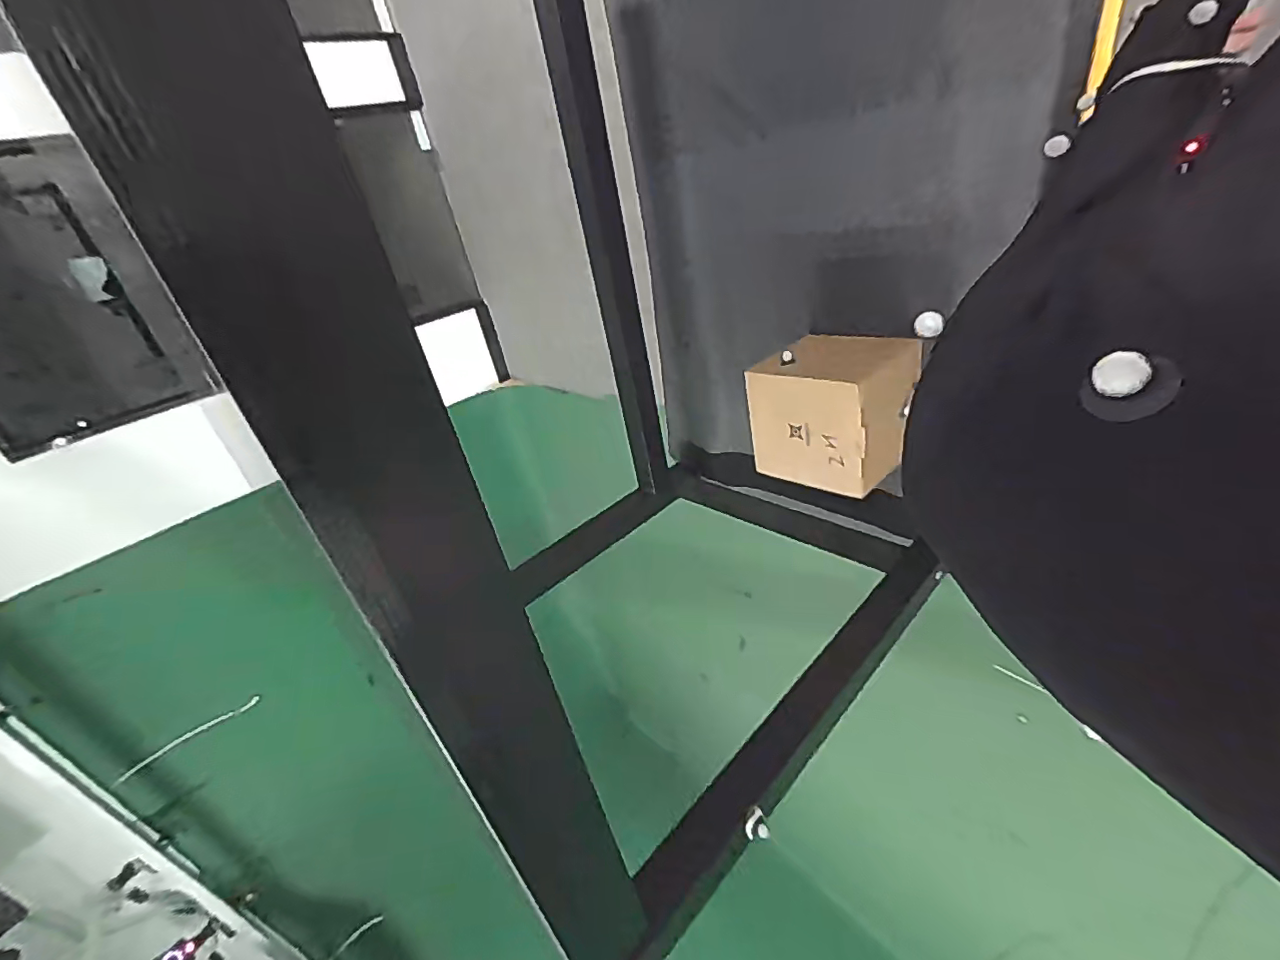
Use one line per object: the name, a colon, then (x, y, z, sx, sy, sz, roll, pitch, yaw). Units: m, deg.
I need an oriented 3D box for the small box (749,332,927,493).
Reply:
small box: (0.284, -0.107, 0.780, 0.179, 0.176, 0.168, 18, 131, 45)
